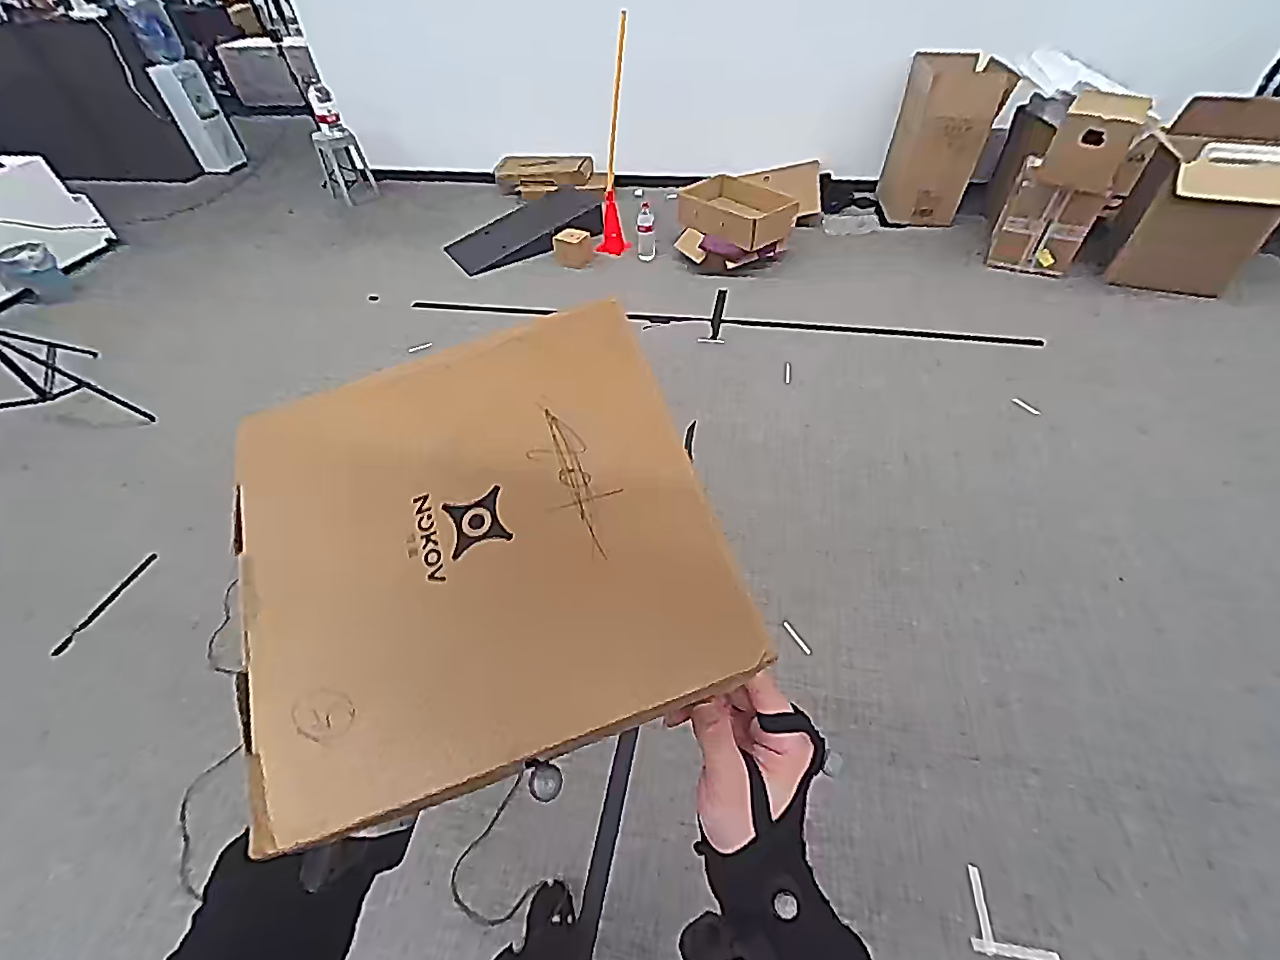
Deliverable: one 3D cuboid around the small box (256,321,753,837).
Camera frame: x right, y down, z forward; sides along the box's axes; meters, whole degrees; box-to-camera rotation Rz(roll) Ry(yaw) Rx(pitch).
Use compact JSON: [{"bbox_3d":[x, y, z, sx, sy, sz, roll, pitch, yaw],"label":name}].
[{"bbox_3d":[-0.058,0.055,0.289,0.179,0.176,0.168,-21,67,-4],"label":"small box"}]
